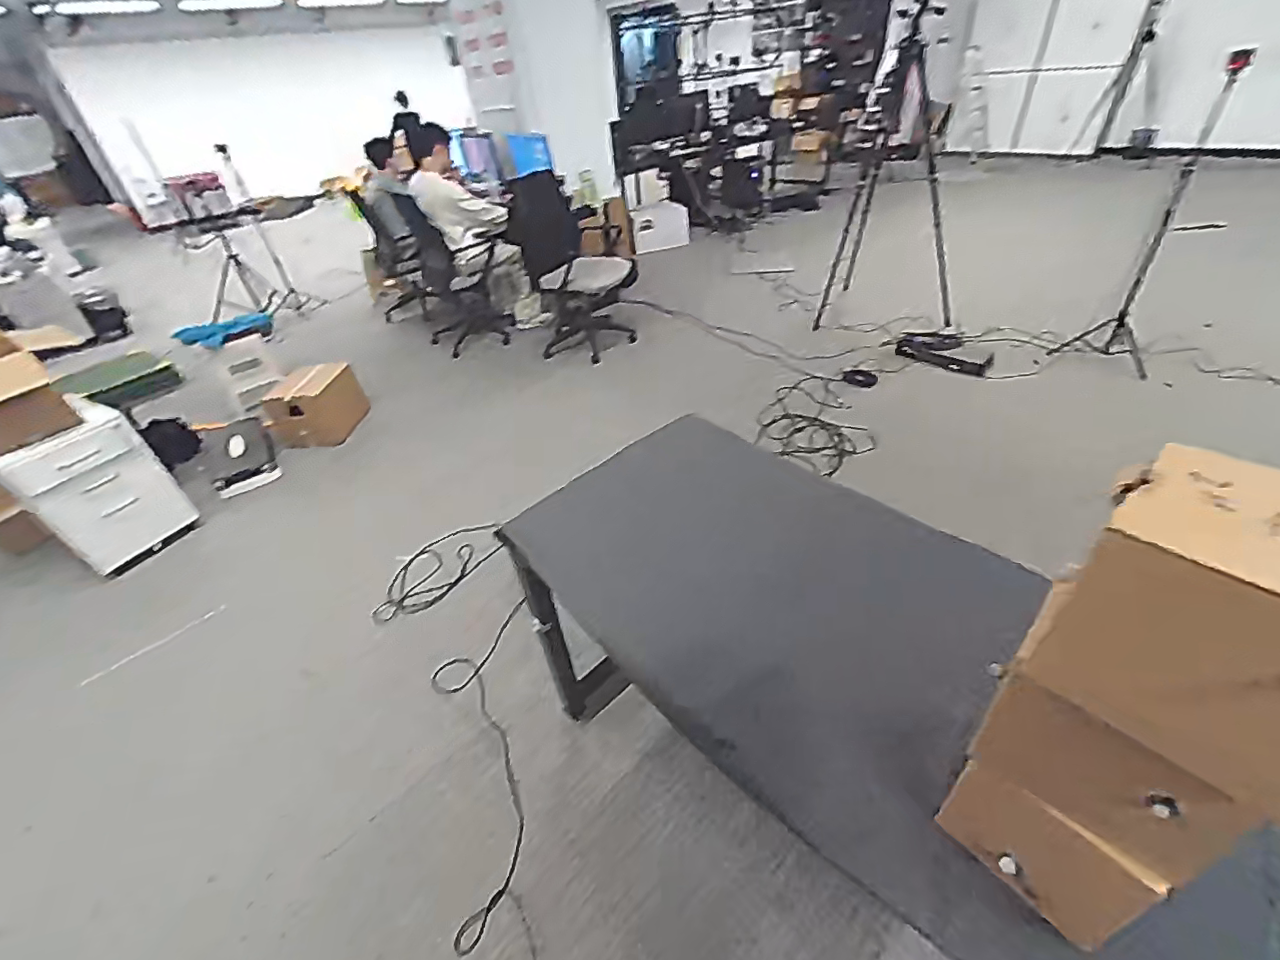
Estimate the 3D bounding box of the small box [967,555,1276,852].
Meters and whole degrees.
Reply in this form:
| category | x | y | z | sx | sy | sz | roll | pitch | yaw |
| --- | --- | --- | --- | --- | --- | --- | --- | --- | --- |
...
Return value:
| category | x | y | z | sx | sy | sz | roll | pitch | yaw |
| --- | --- | --- | --- | --- | --- | --- | --- | --- | --- |
| small box | 0.453 | 0.210 | 0.518 | 0.168 | 0.176 | 0.179 | -31 | 42 | -34 |

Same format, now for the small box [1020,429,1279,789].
| category | x | y | z | sx | sy | sz | roll | pitch | yaw |
| --- | --- | --- | --- | --- | --- | --- | --- | --- | --- |
| small box | 0.433 | 0.091 | 0.403 | 0.168 | 0.176 | 0.179 | -27 | 41 | -30 |

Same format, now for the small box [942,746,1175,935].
| category | x | y | z | sx | sy | sz | roll | pitch | yaw |
| --- | --- | --- | --- | --- | --- | --- | --- | --- | --- |
| small box | 0.472 | 0.346 | 0.606 | 0.179 | 0.176 | 0.168 | -27 | 40 | -27 |
